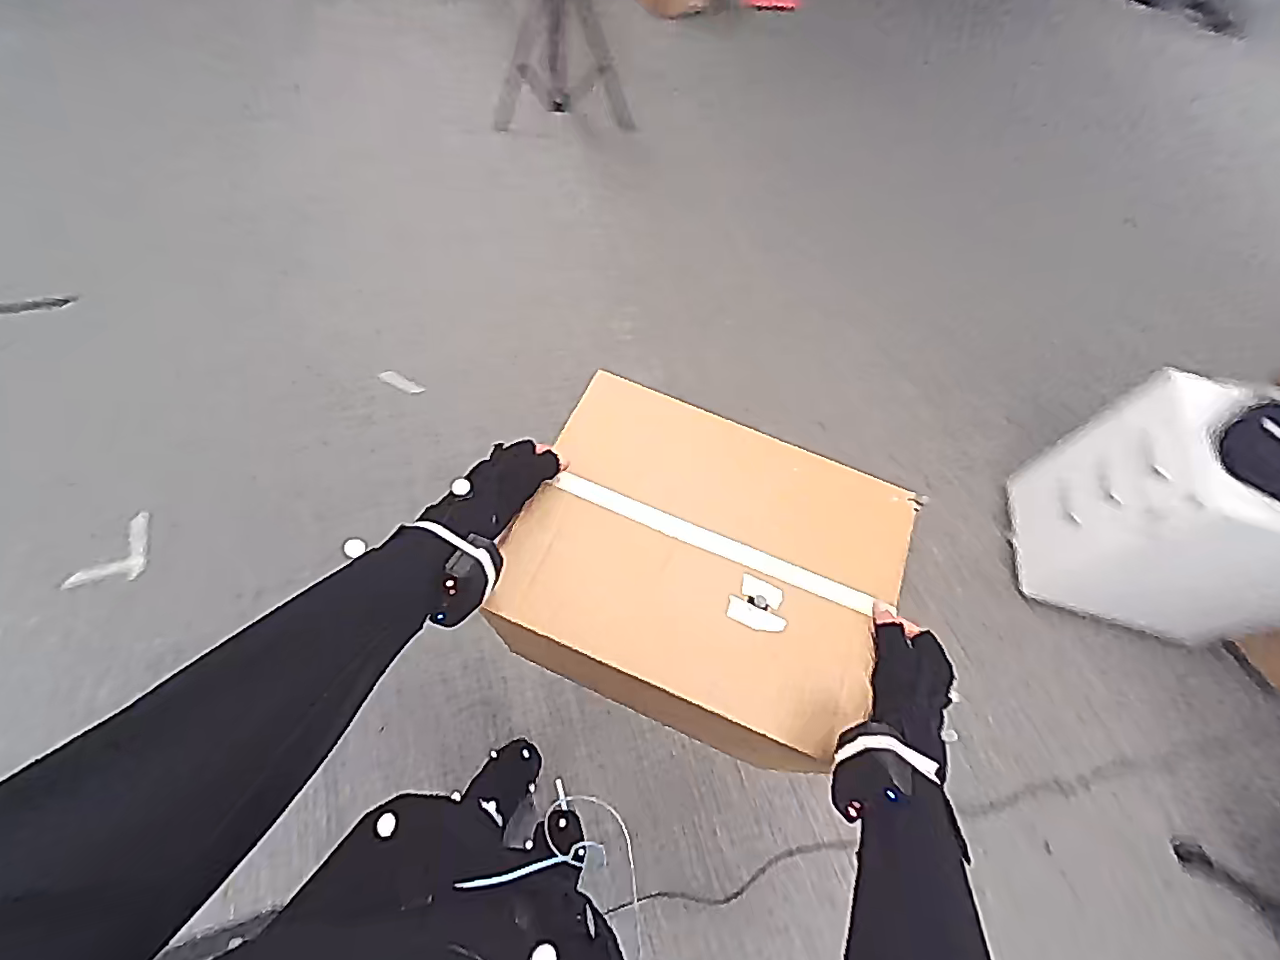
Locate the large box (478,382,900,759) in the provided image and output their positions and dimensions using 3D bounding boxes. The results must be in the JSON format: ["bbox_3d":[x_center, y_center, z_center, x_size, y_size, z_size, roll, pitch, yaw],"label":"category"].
[{"bbox_3d":[0.057,0.135,0.723,0.408,0.320,0.320,22,65,5],"label":"large box"}]
